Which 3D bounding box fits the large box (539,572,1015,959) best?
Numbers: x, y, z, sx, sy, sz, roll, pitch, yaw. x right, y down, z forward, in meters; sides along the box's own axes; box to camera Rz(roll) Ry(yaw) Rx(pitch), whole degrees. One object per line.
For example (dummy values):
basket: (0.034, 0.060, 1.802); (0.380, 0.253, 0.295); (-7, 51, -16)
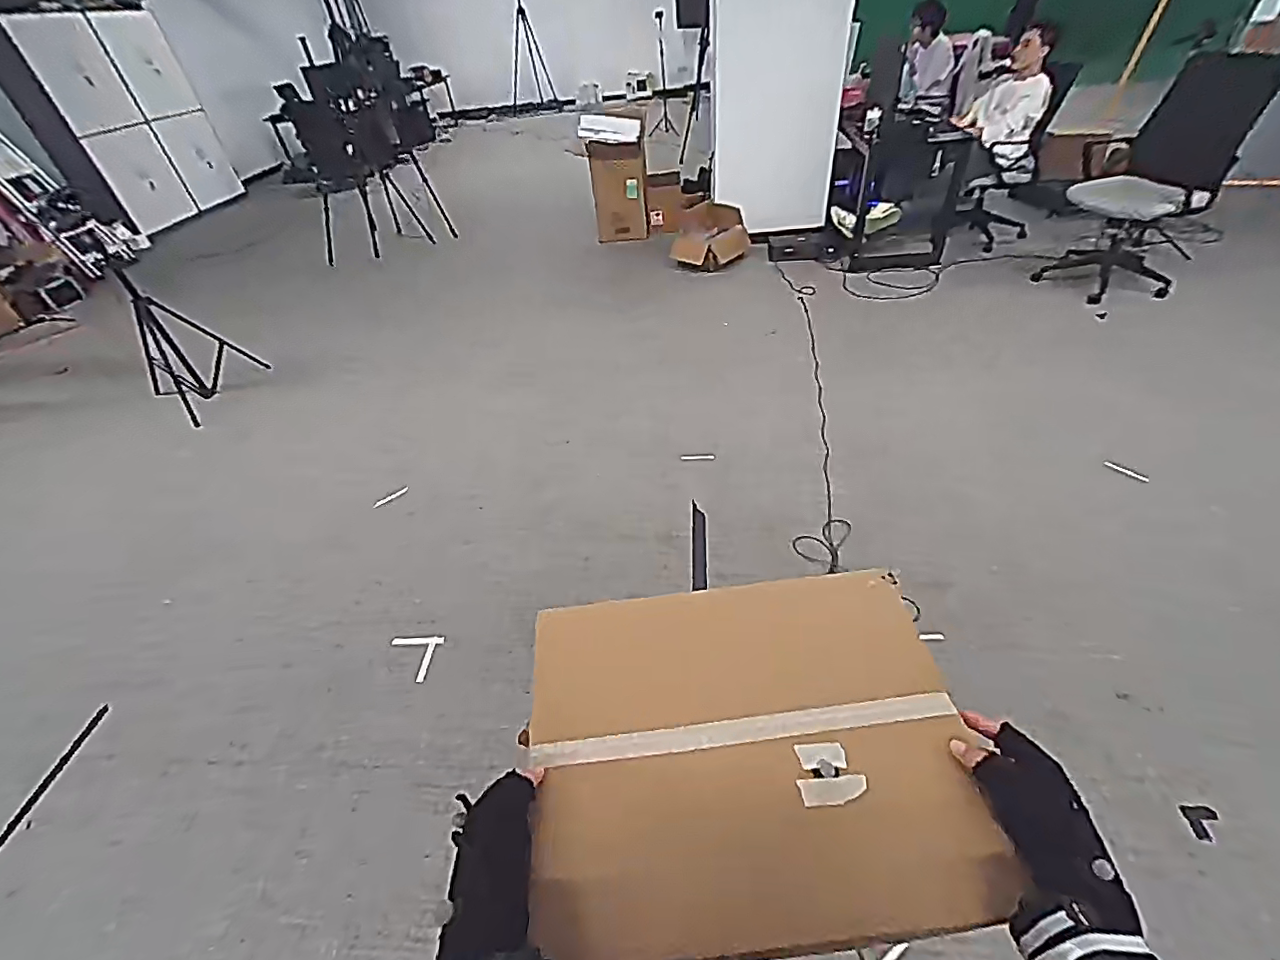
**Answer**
large box: (0.108, 0.348, 0.647); (0.408, 0.320, 0.320); (-7, 47, -1)
